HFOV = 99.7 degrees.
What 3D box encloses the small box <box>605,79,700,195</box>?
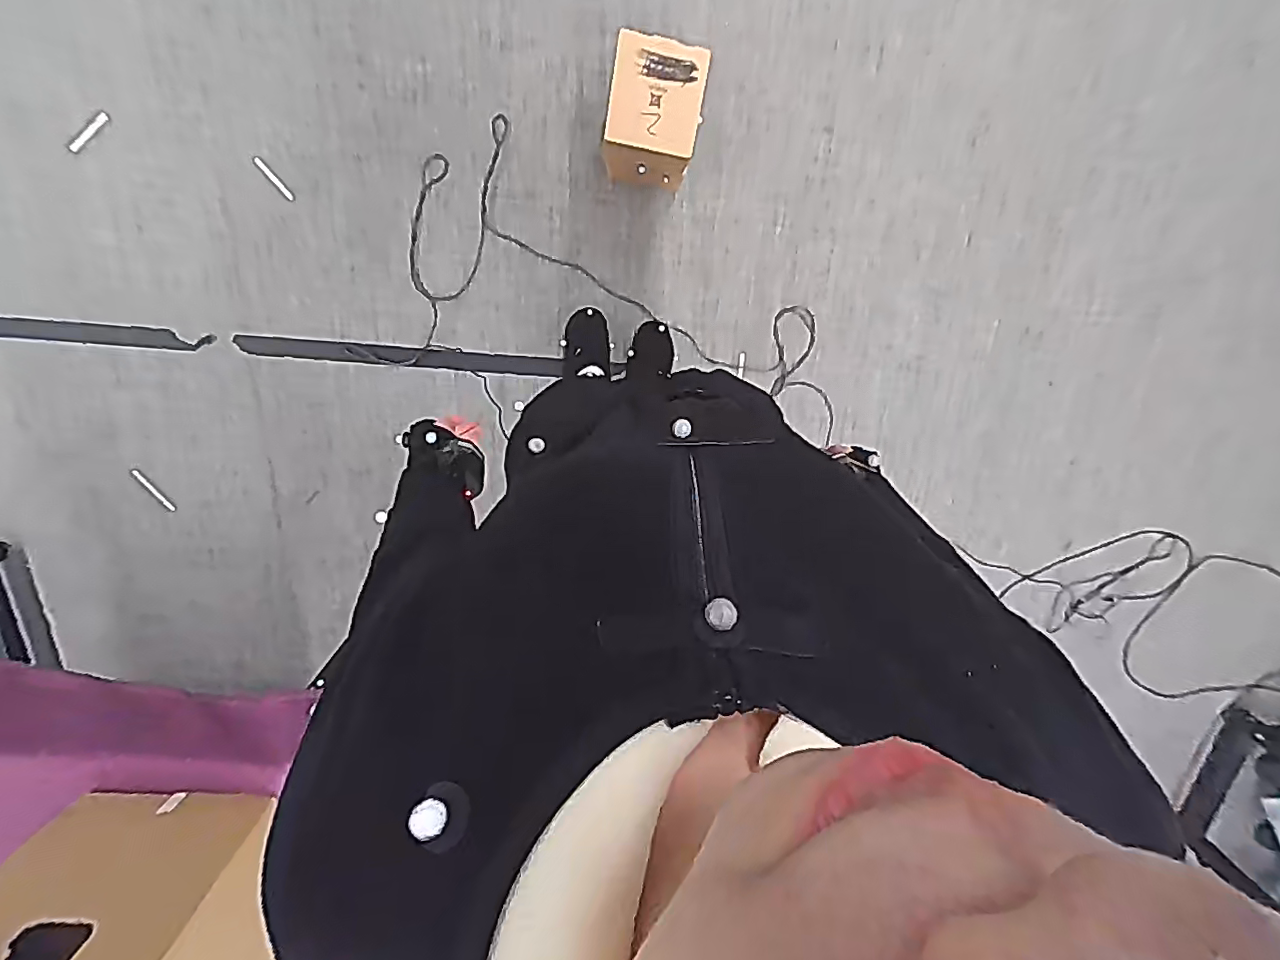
[{"bbox_3d":[0.022,-0.749,1.201,0.179,0.176,0.168,8,107,-5],"label":"small box"}]
